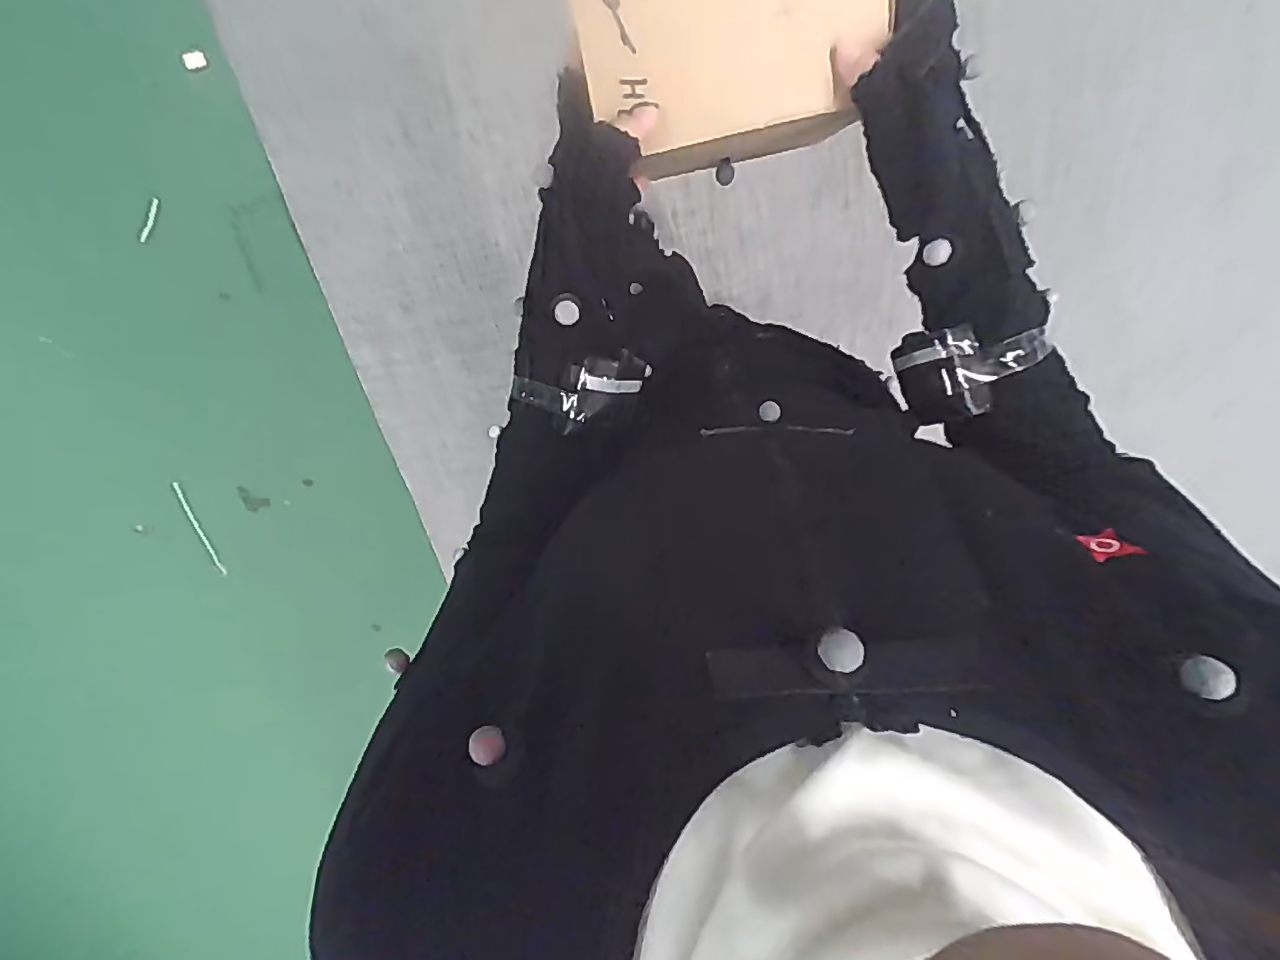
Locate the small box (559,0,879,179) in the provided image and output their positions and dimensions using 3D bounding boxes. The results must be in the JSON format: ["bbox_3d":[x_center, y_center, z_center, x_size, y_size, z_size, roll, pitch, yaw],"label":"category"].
[{"bbox_3d":[0.042,-0.316,0.362,0.179,0.176,0.168,-8,113,6],"label":"small box"}]
